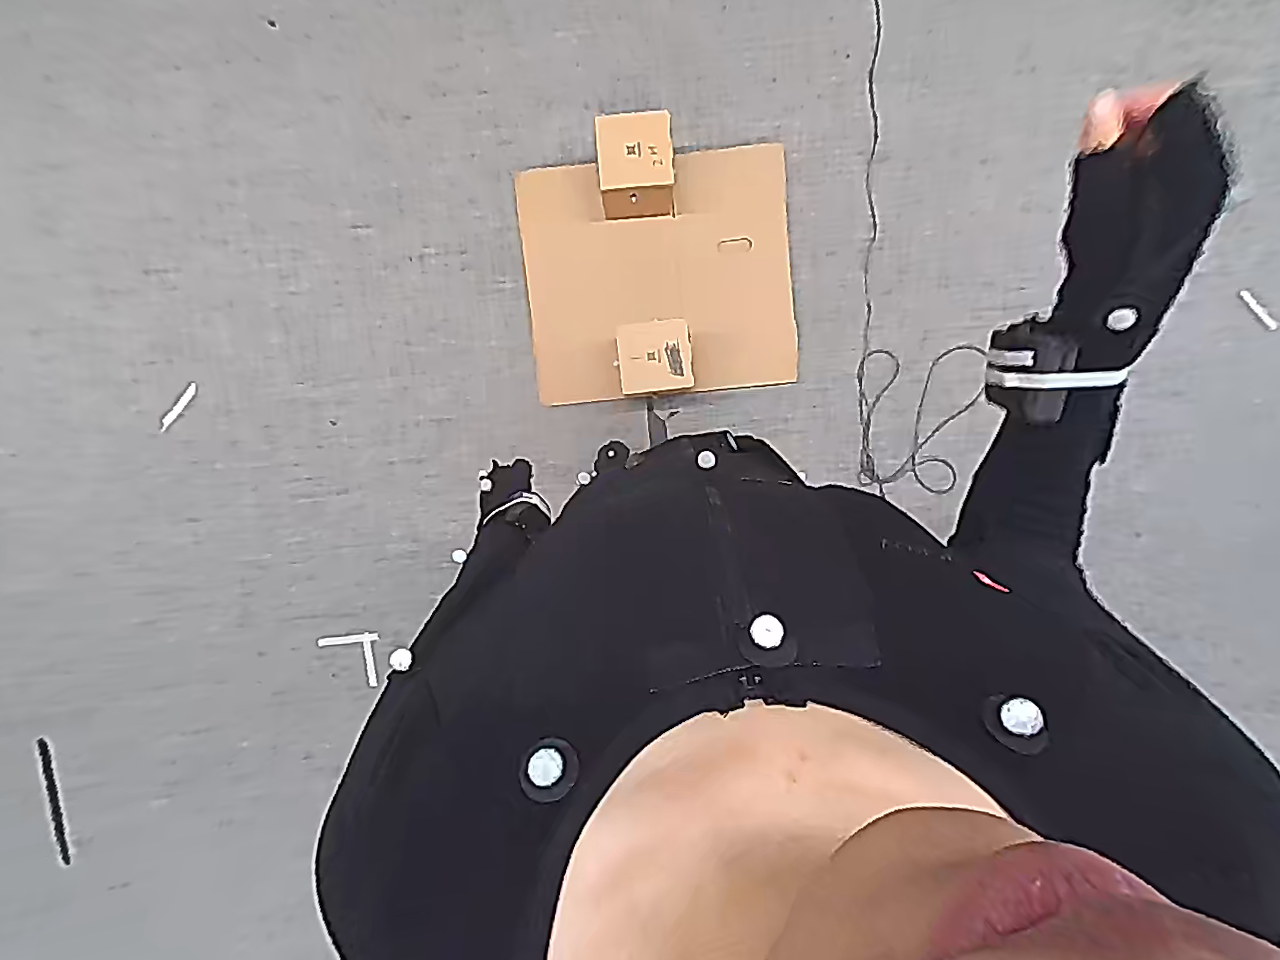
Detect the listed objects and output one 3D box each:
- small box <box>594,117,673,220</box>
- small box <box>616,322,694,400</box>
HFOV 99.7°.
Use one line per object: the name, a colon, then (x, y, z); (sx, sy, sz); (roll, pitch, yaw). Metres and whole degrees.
small box: (-0.014, -0.755, 1.329); (0.179, 0.176, 0.168); (-4, 95, 0)
small box: (0.034, -0.297, 1.370); (0.179, 0.176, 0.168); (-6, 95, 1)
